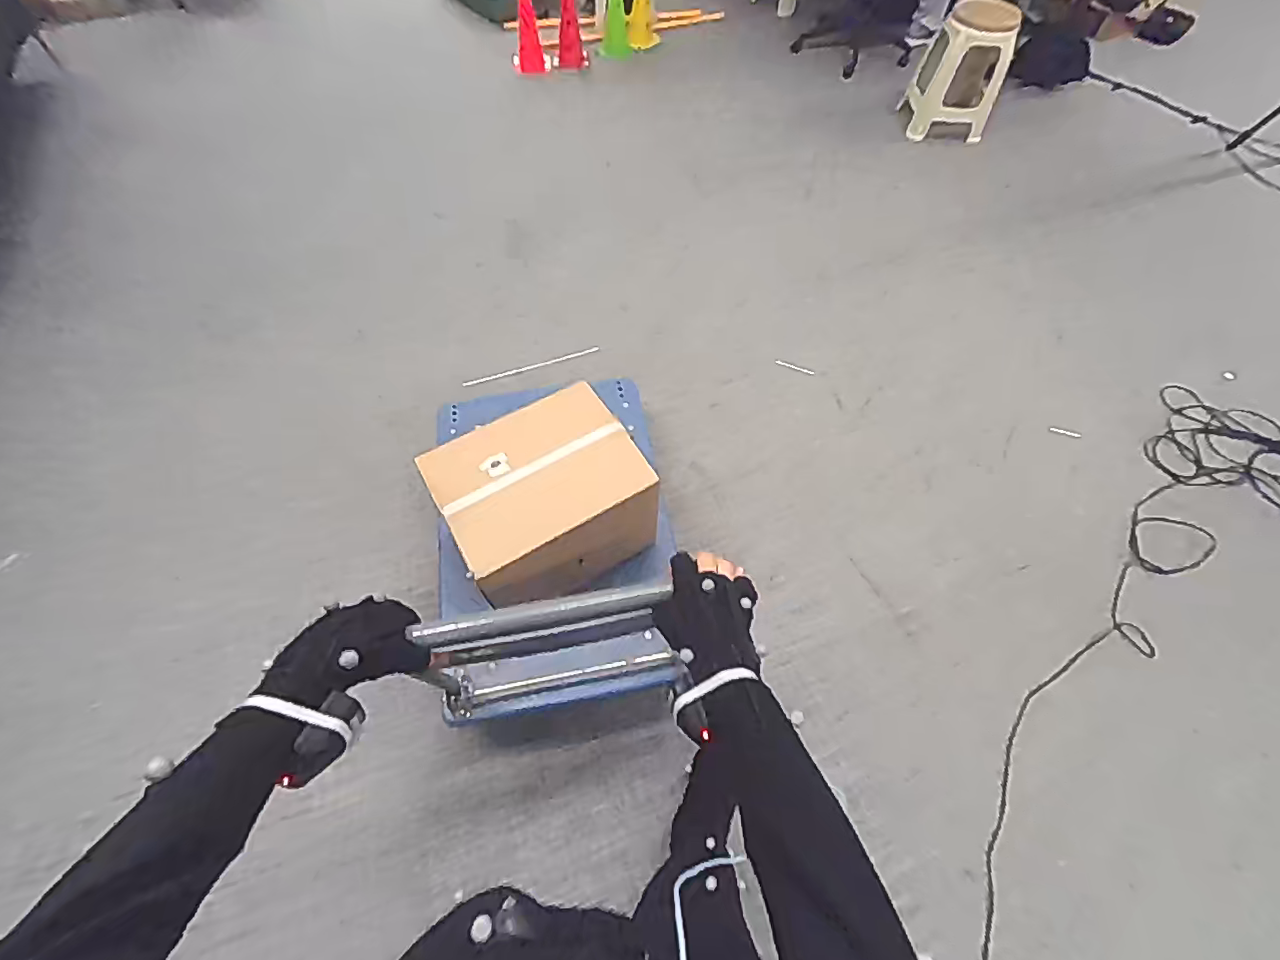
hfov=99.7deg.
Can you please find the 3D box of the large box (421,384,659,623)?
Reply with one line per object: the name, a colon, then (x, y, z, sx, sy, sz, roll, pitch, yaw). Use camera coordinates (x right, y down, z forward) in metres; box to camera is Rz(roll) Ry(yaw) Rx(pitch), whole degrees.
large box: (-0.205, 0.058, 1.231, 0.408, 0.320, 0.320, -29, 63, -16)
